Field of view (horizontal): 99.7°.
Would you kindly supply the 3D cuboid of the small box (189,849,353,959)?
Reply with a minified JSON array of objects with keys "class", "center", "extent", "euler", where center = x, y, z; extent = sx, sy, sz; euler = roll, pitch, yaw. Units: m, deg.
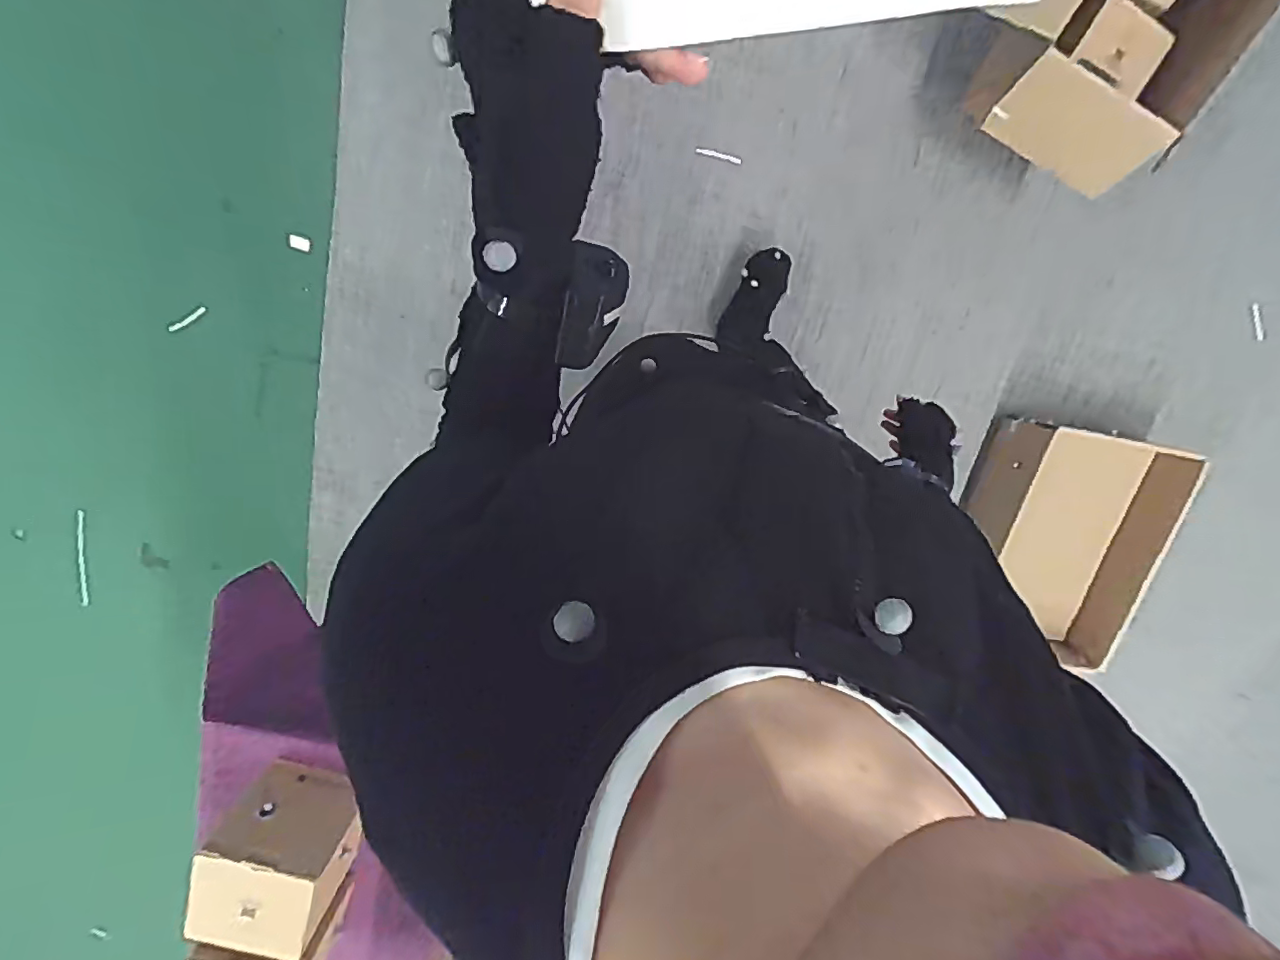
[{"class":"small box","center":[-0.603,0.757,0.888],"extent":[0.168,0.176,0.179],"euler":[21,105,-5]}]
